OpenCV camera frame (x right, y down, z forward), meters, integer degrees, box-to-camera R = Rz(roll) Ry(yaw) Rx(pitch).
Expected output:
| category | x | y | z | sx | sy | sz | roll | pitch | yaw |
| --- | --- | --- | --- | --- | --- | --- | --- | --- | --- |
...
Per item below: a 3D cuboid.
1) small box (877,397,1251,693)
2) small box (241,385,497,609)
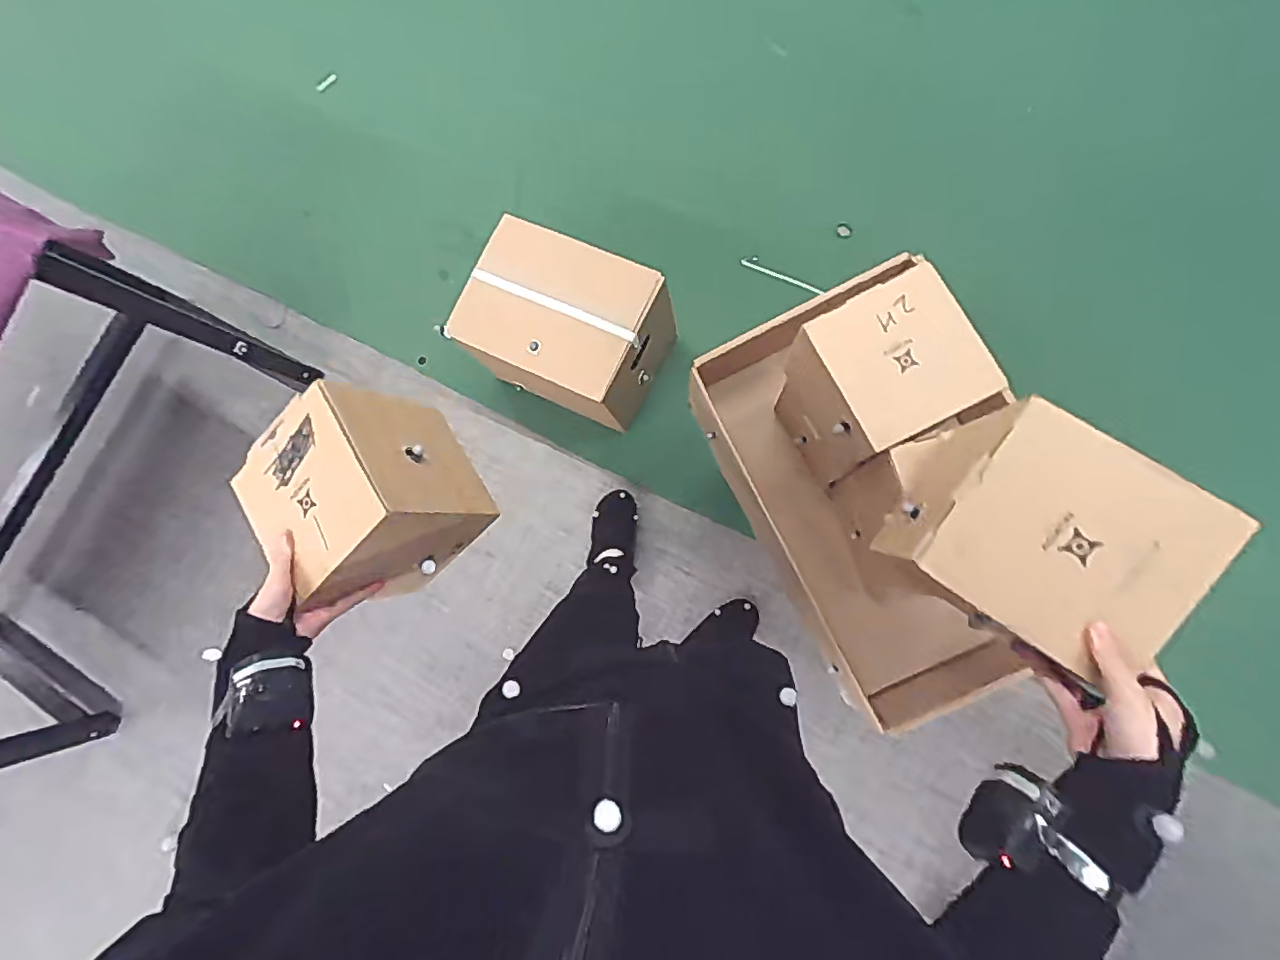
| category | x | y | z | sx | sy | sz | roll | pitch | yaw |
| --- | --- | --- | --- | --- | --- | --- | --- | --- | --- |
| small box | 0.346 | 0.053 | 0.492 | 0.179 | 0.176 | 0.168 | 36 | 95 | 13 |
| small box | -0.305 | 0.024 | 0.625 | 0.168 | 0.176 | 0.179 | -42 | 71 | 15 |
